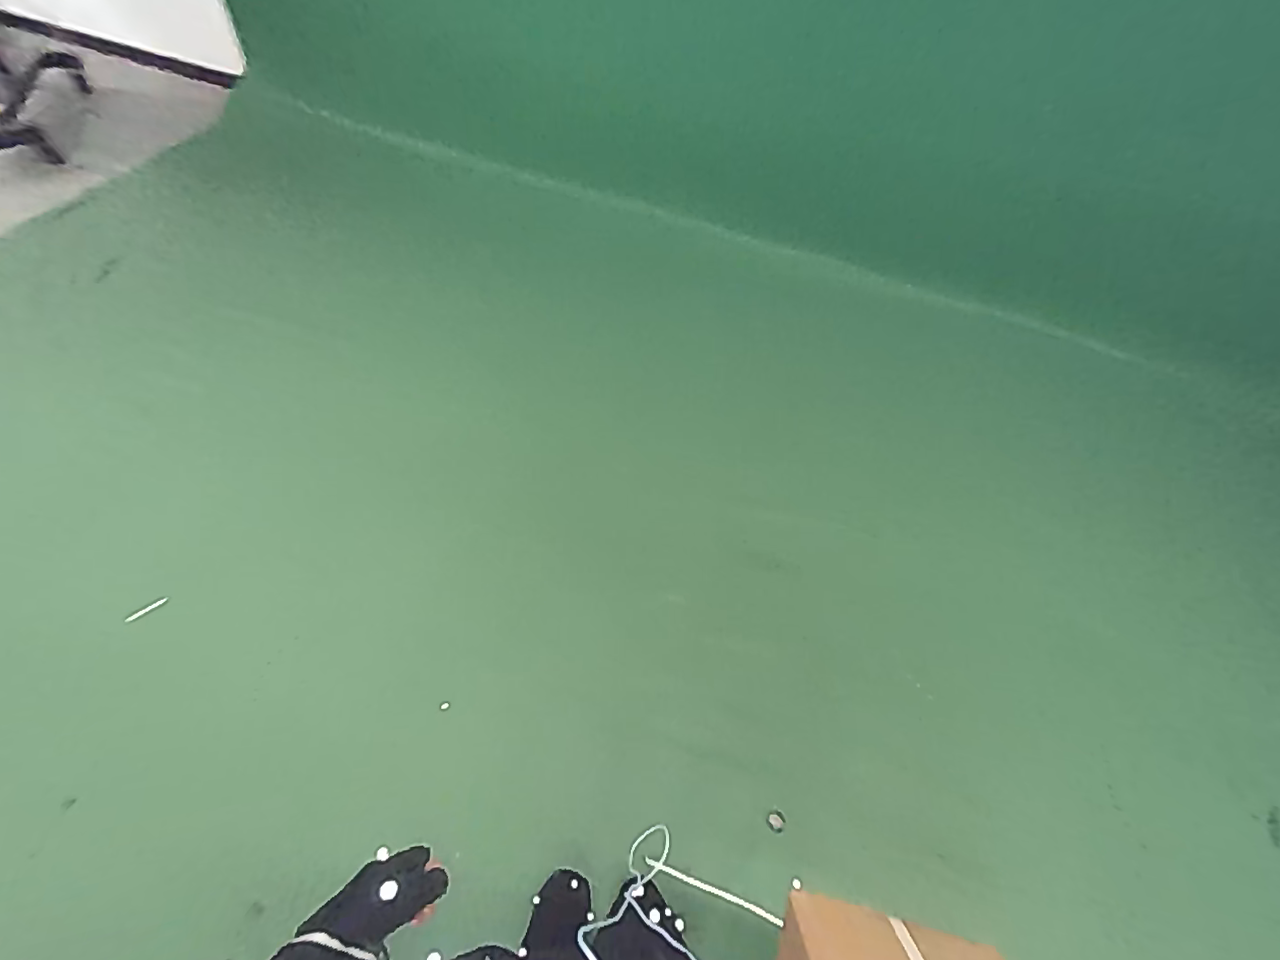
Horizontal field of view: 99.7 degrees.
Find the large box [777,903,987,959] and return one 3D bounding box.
[{"bbox_3d":[0.330,0.813,0.615,0.320,0.408,0.320,14,85,5],"label":"large box"}]
